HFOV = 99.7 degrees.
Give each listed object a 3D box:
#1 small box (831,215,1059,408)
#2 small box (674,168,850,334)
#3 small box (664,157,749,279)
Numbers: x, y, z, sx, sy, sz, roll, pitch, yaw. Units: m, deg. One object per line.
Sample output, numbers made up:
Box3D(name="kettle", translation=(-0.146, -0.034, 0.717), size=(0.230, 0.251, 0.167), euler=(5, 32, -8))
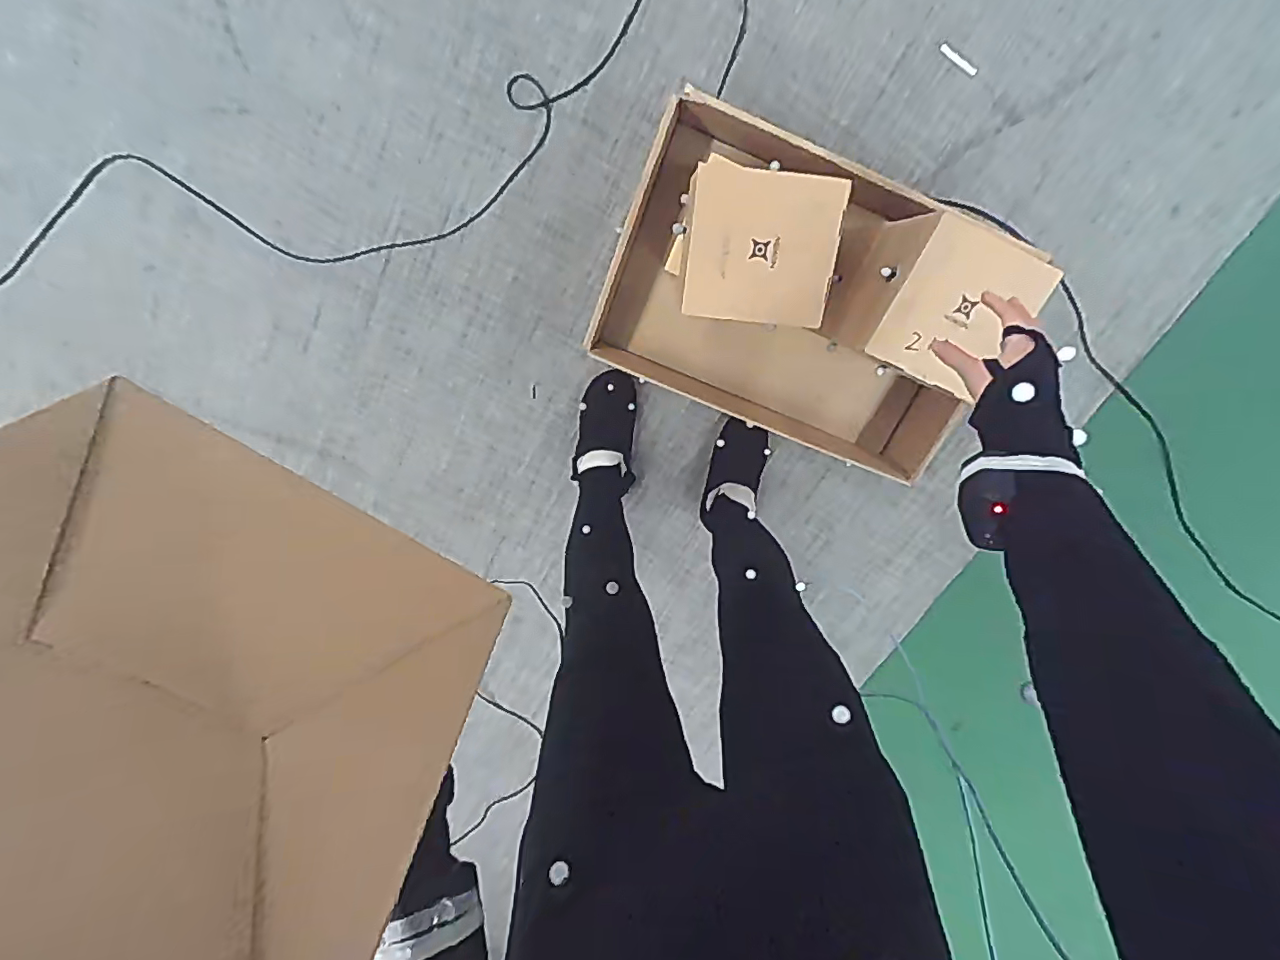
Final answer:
Box3D(name="small box", translation=(0.383, -0.224, 0.722), size=(0.168, 0.176, 0.179), euler=(24, 111, -6))
Box3D(name="small box", translation=(0.143, -0.294, 0.707), size=(0.179, 0.176, 0.168), euler=(6, 112, -1))
Box3D(name="small box", translation=(0.146, -0.372, 0.851), size=(0.179, 0.176, 0.168), euler=(21, 111, -8))
